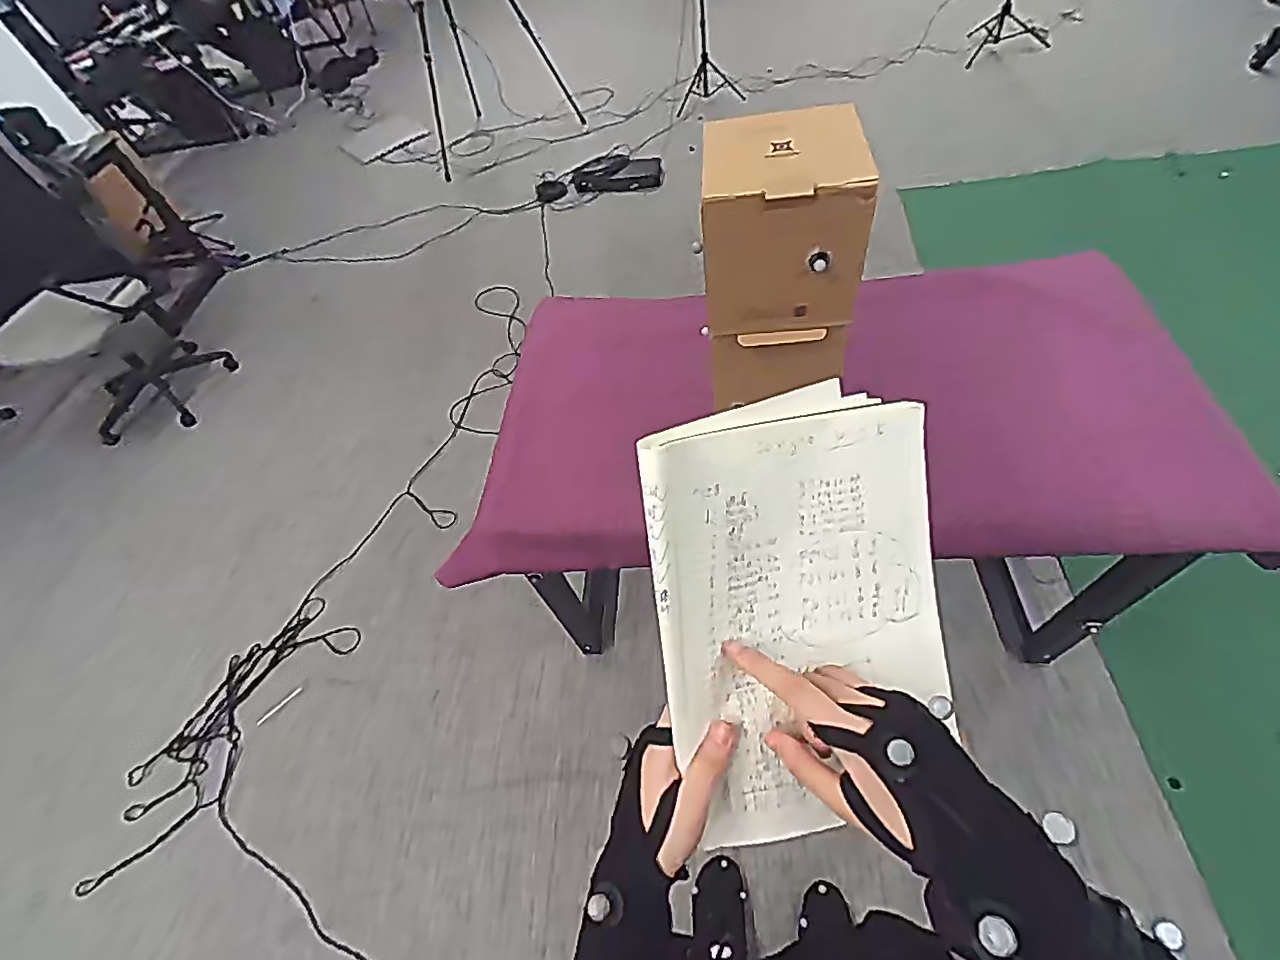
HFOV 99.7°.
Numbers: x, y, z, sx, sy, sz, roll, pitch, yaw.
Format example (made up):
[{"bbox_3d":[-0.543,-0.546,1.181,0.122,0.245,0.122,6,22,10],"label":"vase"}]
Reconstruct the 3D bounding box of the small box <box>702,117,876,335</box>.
[{"bbox_3d":[0.162,-0.283,0.628,0.168,0.176,0.179,-1,53,10],"label":"small box"}]

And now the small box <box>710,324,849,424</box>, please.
[{"bbox_3d":[0.188,-0.191,0.760,0.168,0.176,0.179,-1,53,10],"label":"small box"}]

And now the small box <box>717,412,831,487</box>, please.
[{"bbox_3d":[0.214,-0.099,0.894,0.168,0.176,0.179,-2,54,10],"label":"small box"}]
